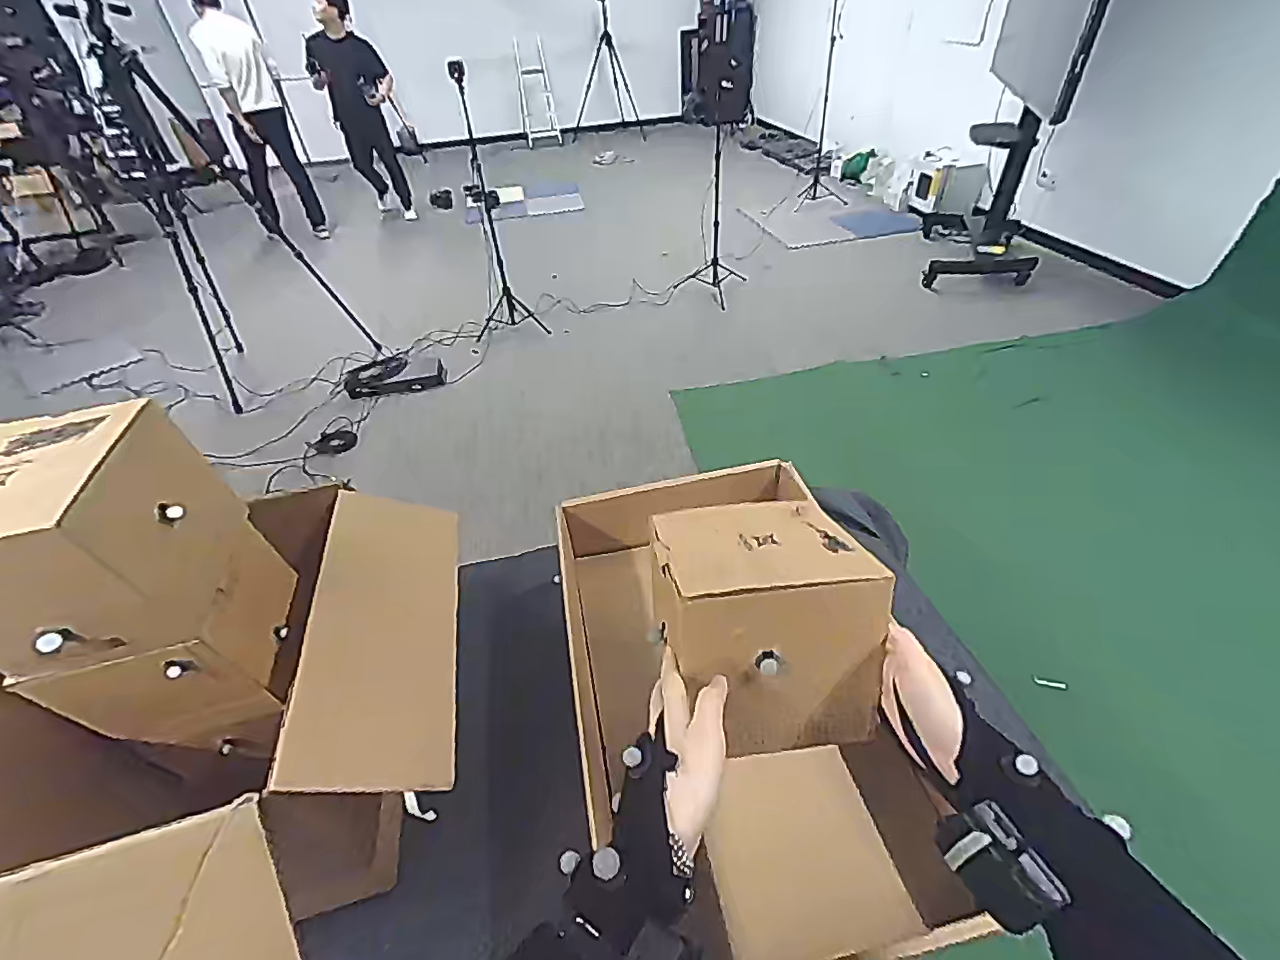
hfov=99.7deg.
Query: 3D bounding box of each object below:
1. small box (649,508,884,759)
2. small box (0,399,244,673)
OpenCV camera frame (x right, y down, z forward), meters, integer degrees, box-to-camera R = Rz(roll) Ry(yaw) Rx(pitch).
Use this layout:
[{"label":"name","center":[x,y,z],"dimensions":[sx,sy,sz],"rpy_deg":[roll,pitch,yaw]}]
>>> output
[{"label":"small box","center":[0.109,0.142,0.525],"dimensions":[0.179,0.176,0.168],"rpy_deg":[-5,20,-5]},{"label":"small box","center":[-0.523,0.052,0.514],"dimensions":[0.168,0.176,0.179],"rpy_deg":[-12,46,-6]}]
